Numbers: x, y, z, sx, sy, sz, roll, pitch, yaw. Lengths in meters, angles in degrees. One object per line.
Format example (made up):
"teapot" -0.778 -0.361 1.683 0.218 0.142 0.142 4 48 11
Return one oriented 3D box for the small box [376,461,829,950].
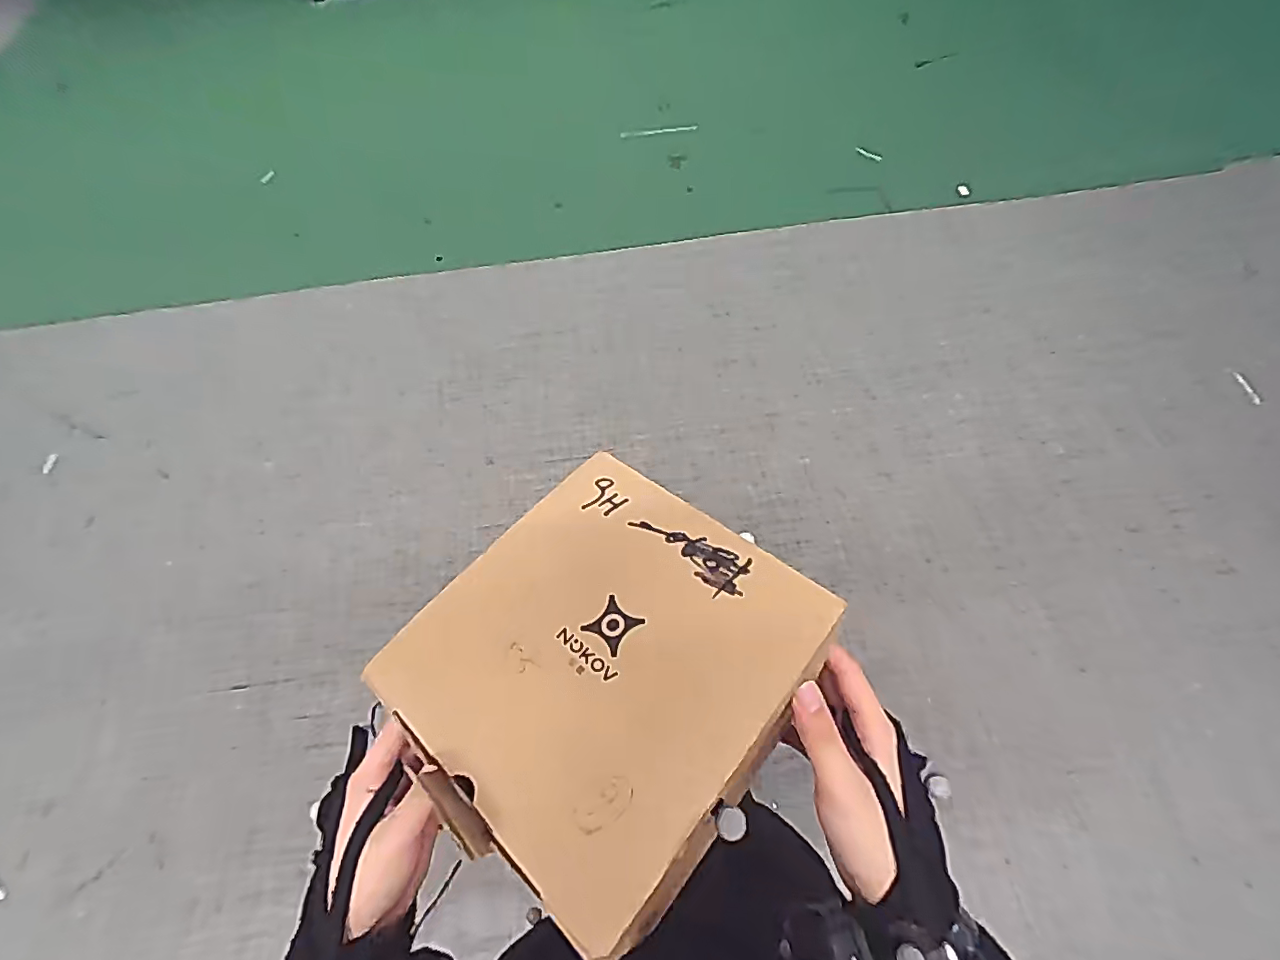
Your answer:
"small box" -0.010 0.129 0.331 0.168 0.176 0.179 32 64 28
